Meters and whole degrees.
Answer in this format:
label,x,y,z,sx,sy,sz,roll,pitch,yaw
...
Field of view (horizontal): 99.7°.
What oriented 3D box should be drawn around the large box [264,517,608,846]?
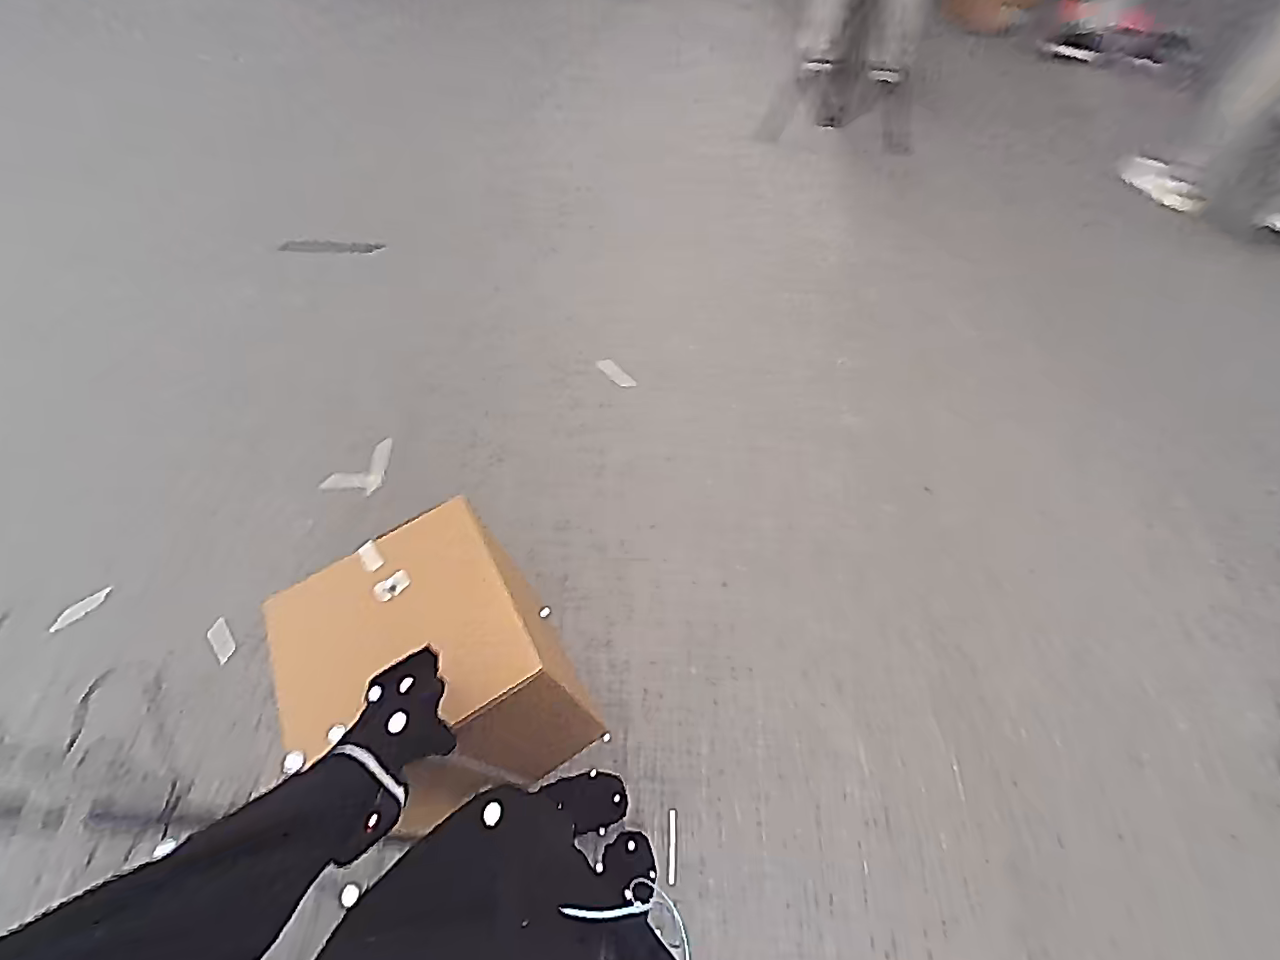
label,x,y,z,sx,sy,sz,roll,pitch,yaw
large box,-0.293,0.329,0.862,0.320,0.408,0.320,-31,57,-10
